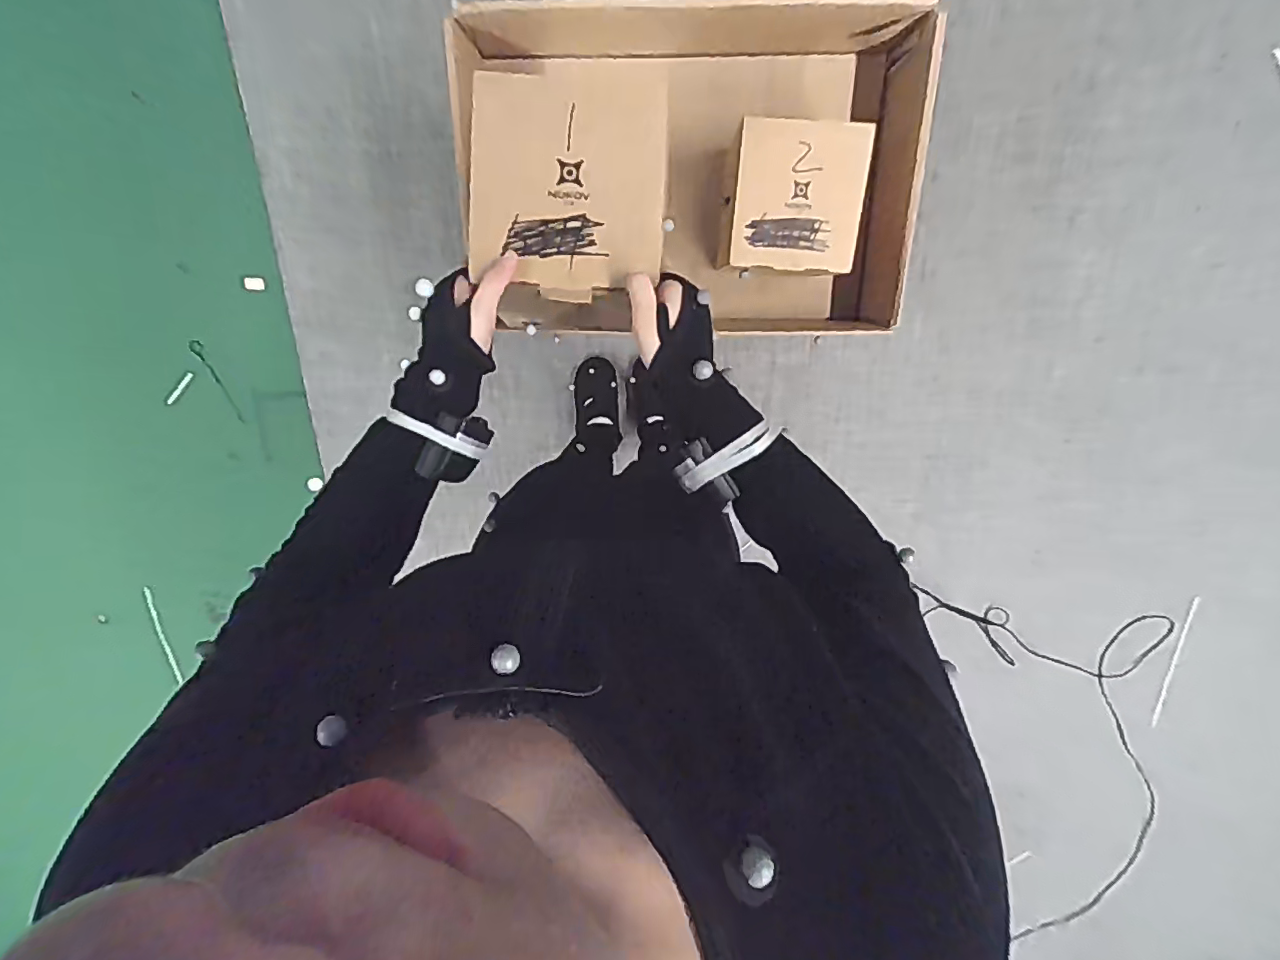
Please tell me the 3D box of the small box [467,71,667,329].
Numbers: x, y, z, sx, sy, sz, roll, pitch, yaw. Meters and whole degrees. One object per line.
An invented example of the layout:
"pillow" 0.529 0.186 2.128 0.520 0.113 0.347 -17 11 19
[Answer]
"small box" -0.064 -0.255 0.537 0.168 0.176 0.179 3 93 -2
